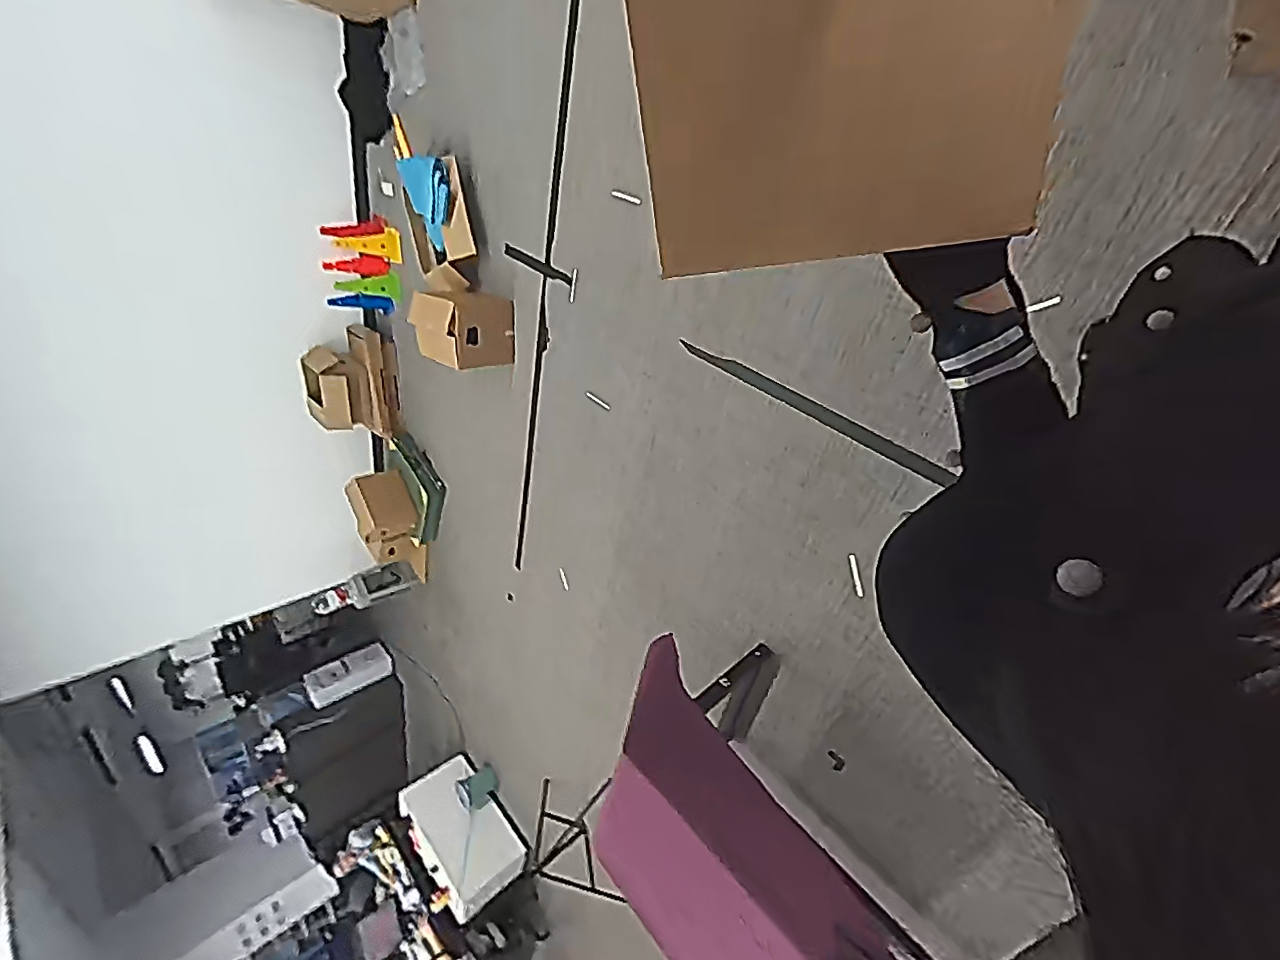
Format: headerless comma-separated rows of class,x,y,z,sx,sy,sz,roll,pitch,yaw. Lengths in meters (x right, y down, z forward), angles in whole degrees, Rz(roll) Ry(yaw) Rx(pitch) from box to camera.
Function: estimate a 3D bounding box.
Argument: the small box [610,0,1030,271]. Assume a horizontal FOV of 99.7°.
small box,0.090,-0.225,0.284,0.168,0.179,0.176,-2,121,19
